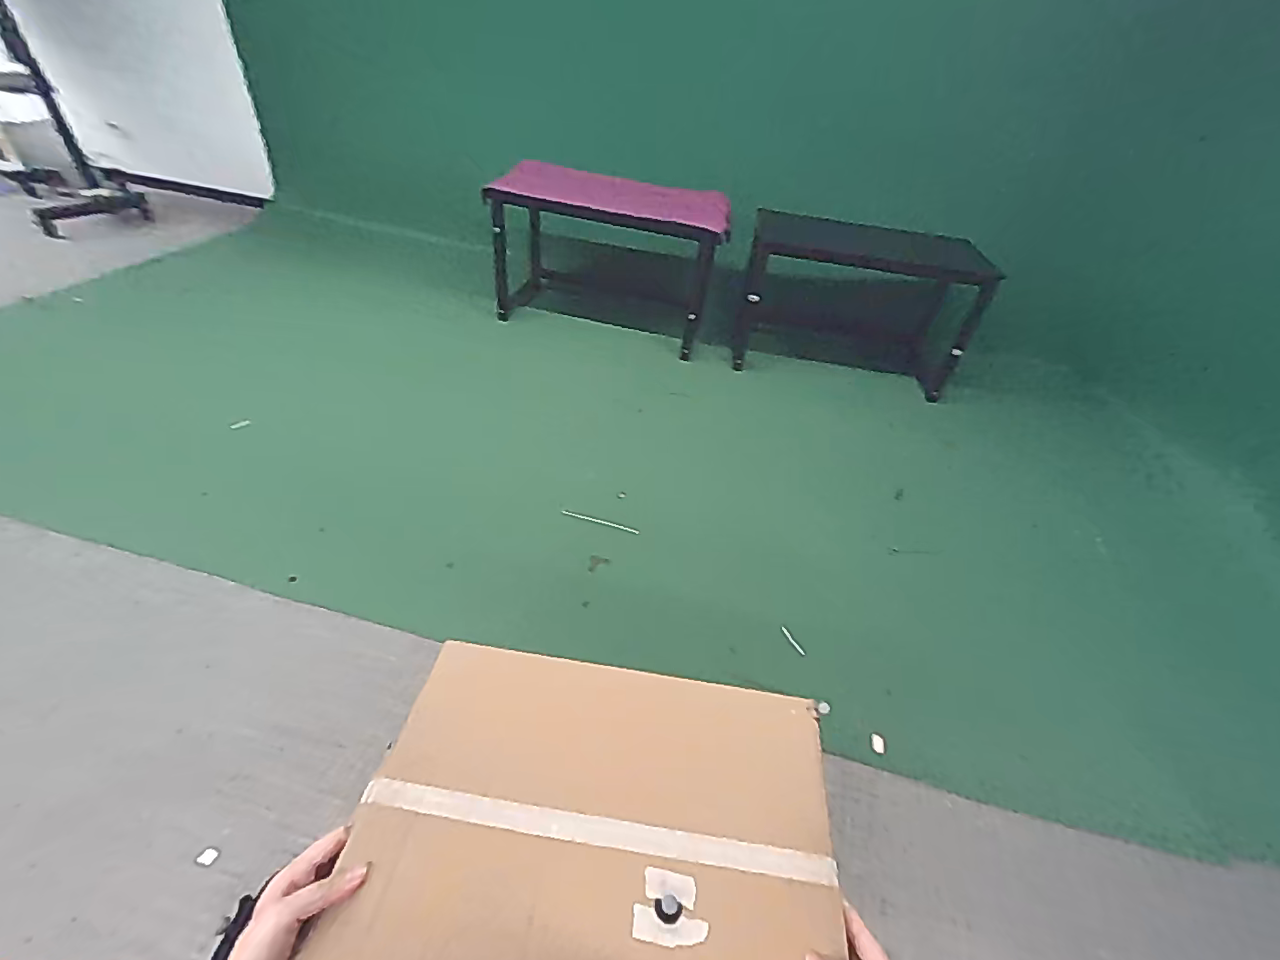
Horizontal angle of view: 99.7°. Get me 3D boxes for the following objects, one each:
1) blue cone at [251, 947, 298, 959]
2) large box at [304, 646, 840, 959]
[{"bbox_3d":[-0.699,0.903,0.917,0.193,0.380,0.192,20,41,13],"label":"blue cone"},{"bbox_3d":[-0.048,0.416,0.568,0.408,0.320,0.320,8,39,2],"label":"large box"}]
